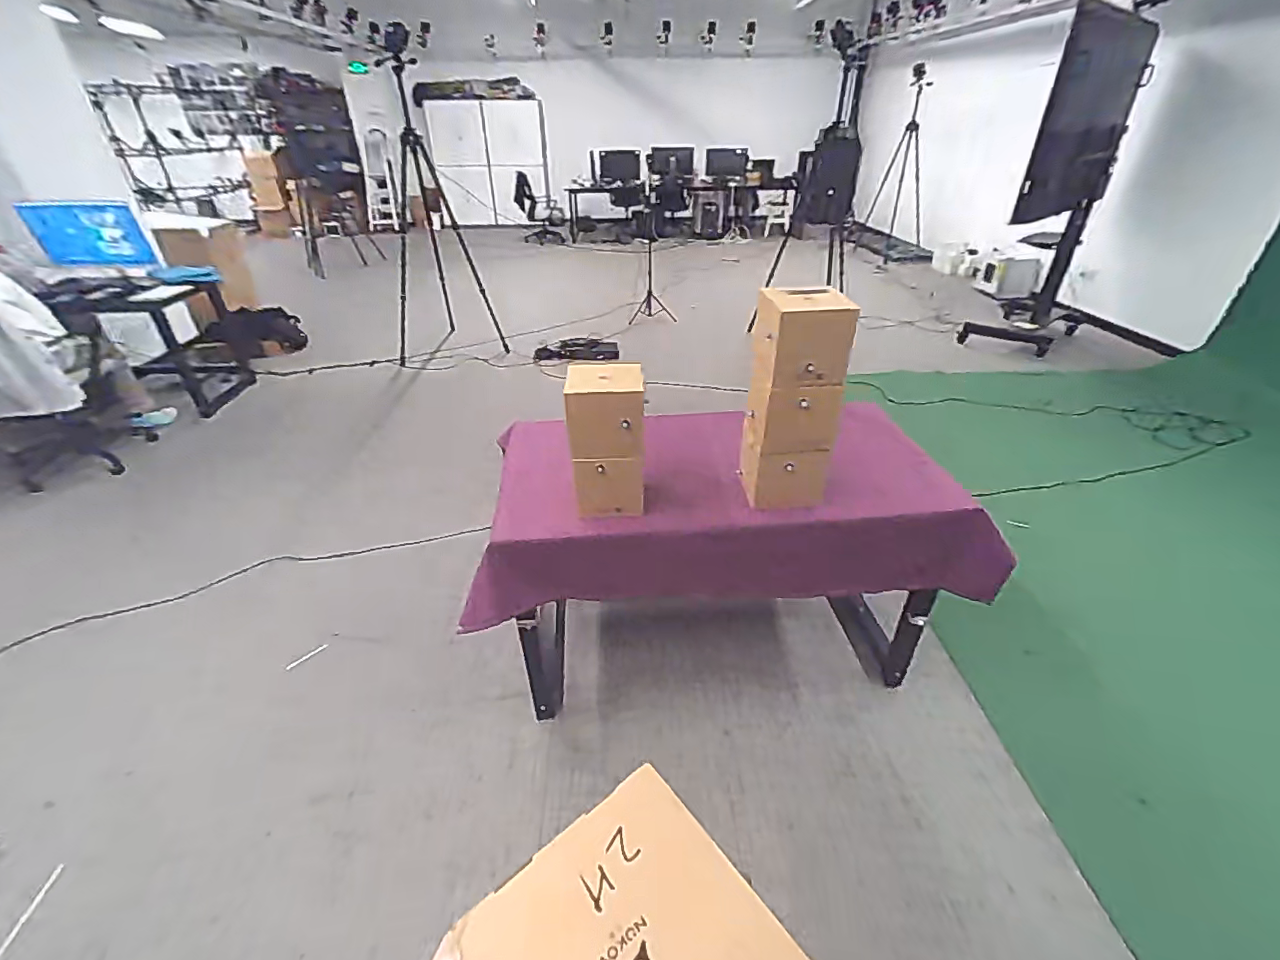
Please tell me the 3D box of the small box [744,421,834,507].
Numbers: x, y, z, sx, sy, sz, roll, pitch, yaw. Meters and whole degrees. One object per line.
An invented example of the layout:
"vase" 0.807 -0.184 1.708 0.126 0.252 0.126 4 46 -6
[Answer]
"small box" 0.366 -0.043 1.368 0.179 0.176 0.168 -2 34 -3

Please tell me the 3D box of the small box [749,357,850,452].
"small box" 0.367 -0.179 1.278 0.179 0.176 0.168 -4 34 -2

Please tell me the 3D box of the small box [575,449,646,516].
"small box" -0.070 -0.027 1.353 0.168 0.176 0.179 -2 33 -1

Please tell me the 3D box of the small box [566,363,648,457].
"small box" -0.071 -0.163 1.263 0.179 0.176 0.168 -2 33 0
